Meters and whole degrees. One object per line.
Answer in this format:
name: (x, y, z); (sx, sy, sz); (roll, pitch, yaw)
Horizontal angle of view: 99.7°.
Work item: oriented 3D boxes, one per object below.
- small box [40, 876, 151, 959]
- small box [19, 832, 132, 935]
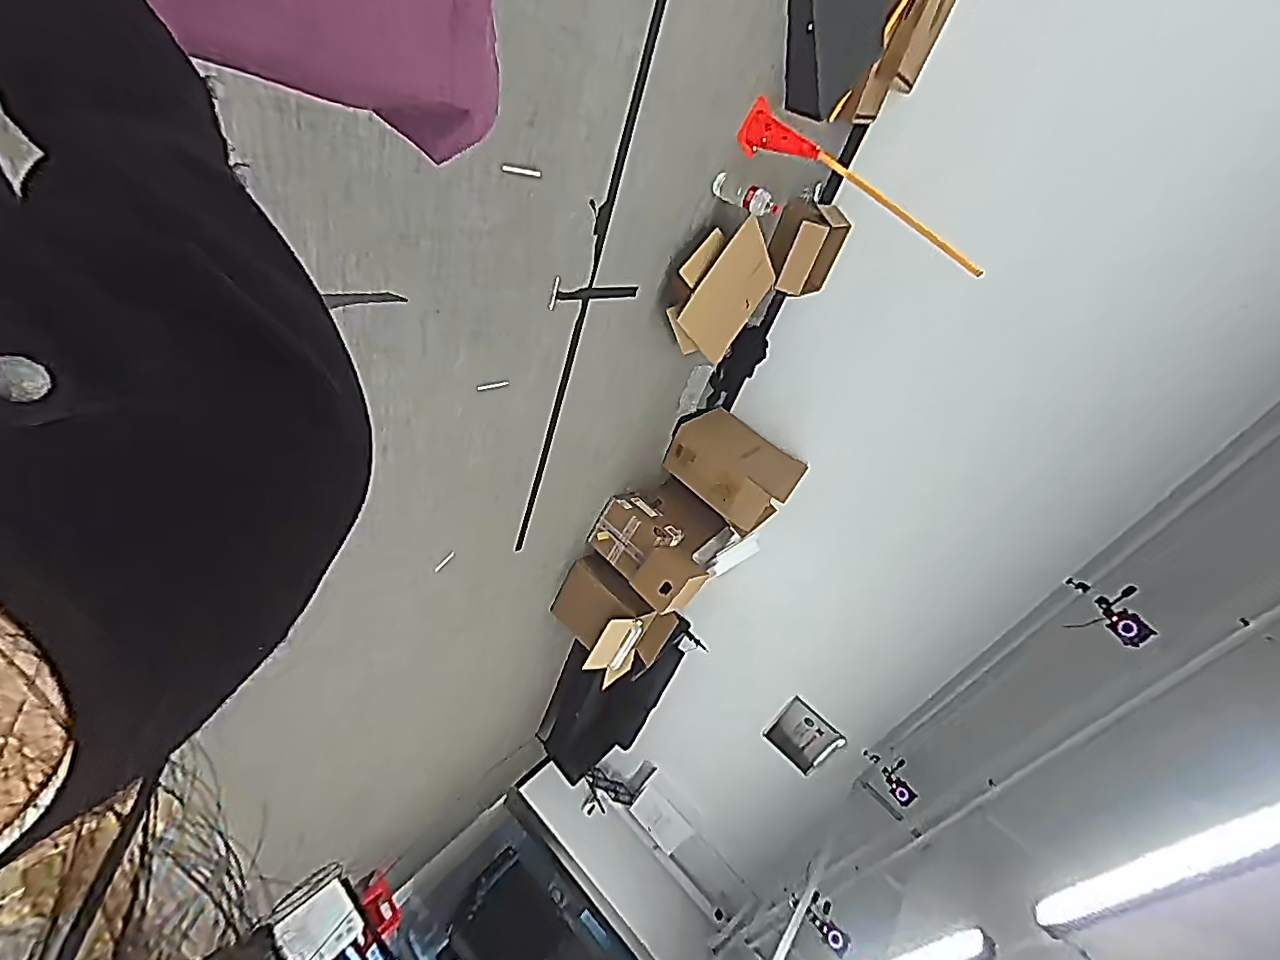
small box: (-1.511, 1.260, 1.506); (0.168, 0.176, 0.179); (-26, 145, -47)
small box: (-1.634, 1.175, 1.569); (0.179, 0.176, 0.168); (-25, 145, -46)
